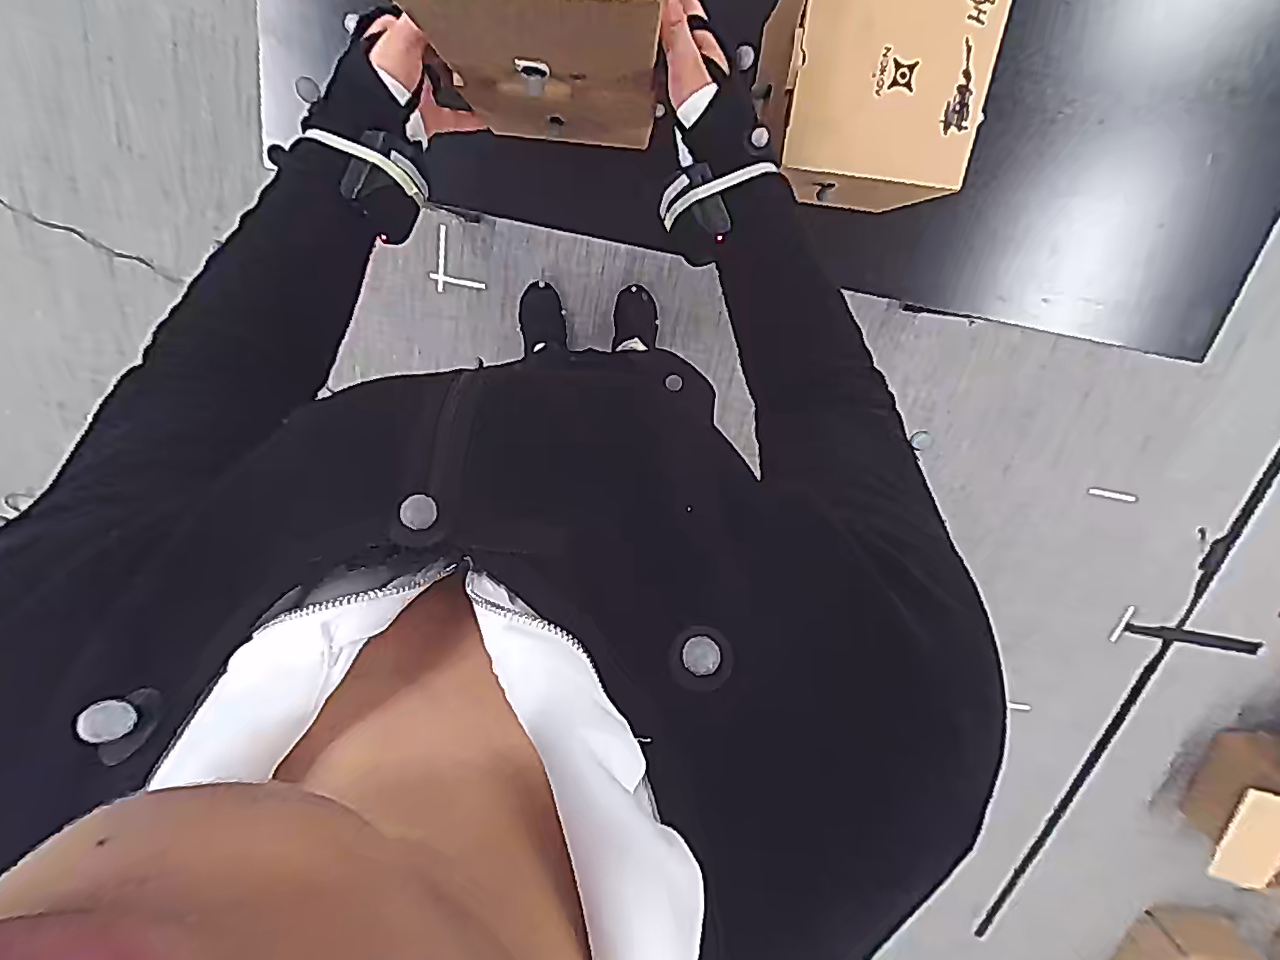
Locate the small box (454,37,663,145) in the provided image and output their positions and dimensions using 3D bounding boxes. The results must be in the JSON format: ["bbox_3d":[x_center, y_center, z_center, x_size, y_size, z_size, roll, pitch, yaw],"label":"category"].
[{"bbox_3d":[-0.069,-0.435,0.514,0.179,0.176,0.168,4,110,-3],"label":"small box"}]

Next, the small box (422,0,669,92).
[{"bbox_3d":[-0.063,-0.390,0.358,0.168,0.176,0.179,2,111,-2],"label":"small box"}]

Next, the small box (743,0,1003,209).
[{"bbox_3d":[0.213,-0.382,0.547,0.179,0.176,0.168,6,109,-3],"label":"small box"}]
